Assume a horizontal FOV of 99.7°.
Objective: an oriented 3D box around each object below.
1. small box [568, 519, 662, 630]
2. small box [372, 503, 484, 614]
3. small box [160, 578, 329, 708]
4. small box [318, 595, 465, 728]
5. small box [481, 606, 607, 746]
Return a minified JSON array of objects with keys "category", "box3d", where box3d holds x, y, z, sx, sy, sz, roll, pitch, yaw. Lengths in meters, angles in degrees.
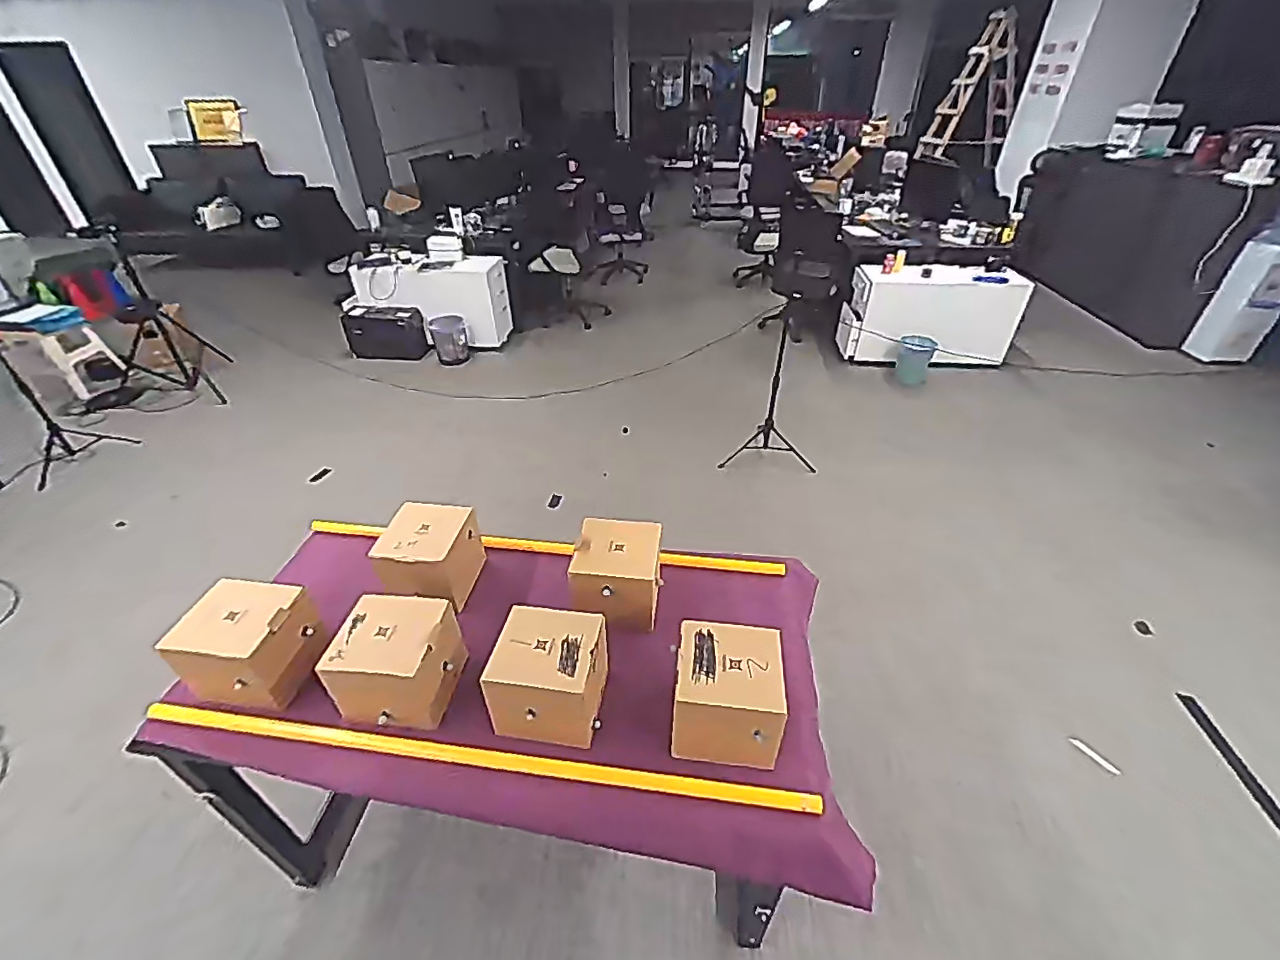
[{"category":"small box","box3d":[-0.046,0.207,1.179,0.179,0.176,0.168,3,38,7]},{"category":"small box","box3d":[-0.466,0.176,1.223,0.168,0.176,0.179,4,39,6]},{"category":"small box","box3d":[-0.738,0.314,1.036,0.179,0.176,0.168,5,36,4]},{"category":"small box","box3d":[-0.445,0.338,1.005,0.179,0.176,0.168,4,37,5]},{"category":"small box","box3d":[-0.162,0.355,0.979,0.179,0.176,0.168,4,35,8]}]
